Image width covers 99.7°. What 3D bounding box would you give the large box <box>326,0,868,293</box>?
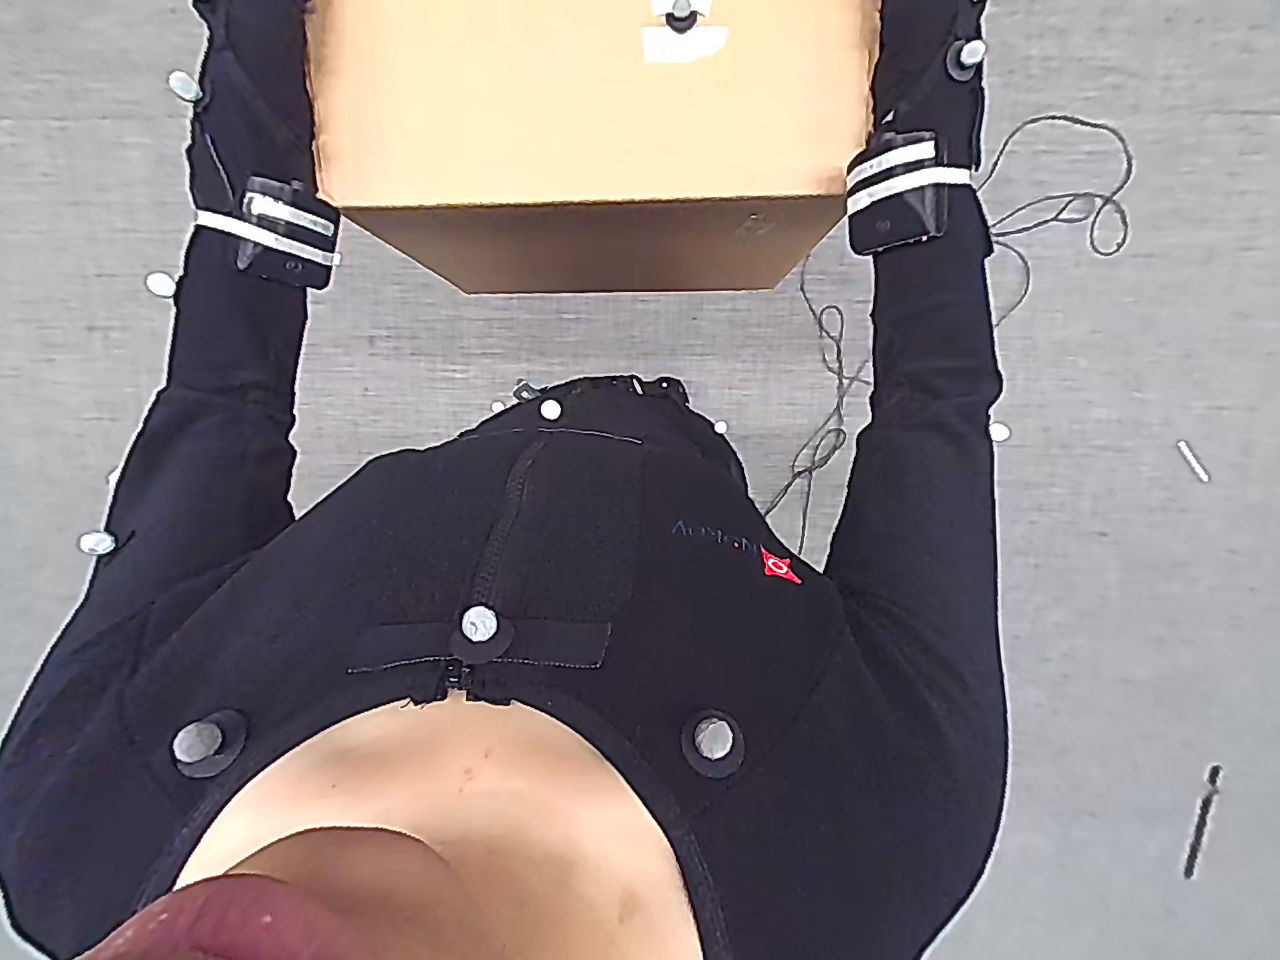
[{"bbox_3d":[-0.032,-0.385,0.540,0.408,0.320,0.320,-1,97,1],"label":"large box"}]
